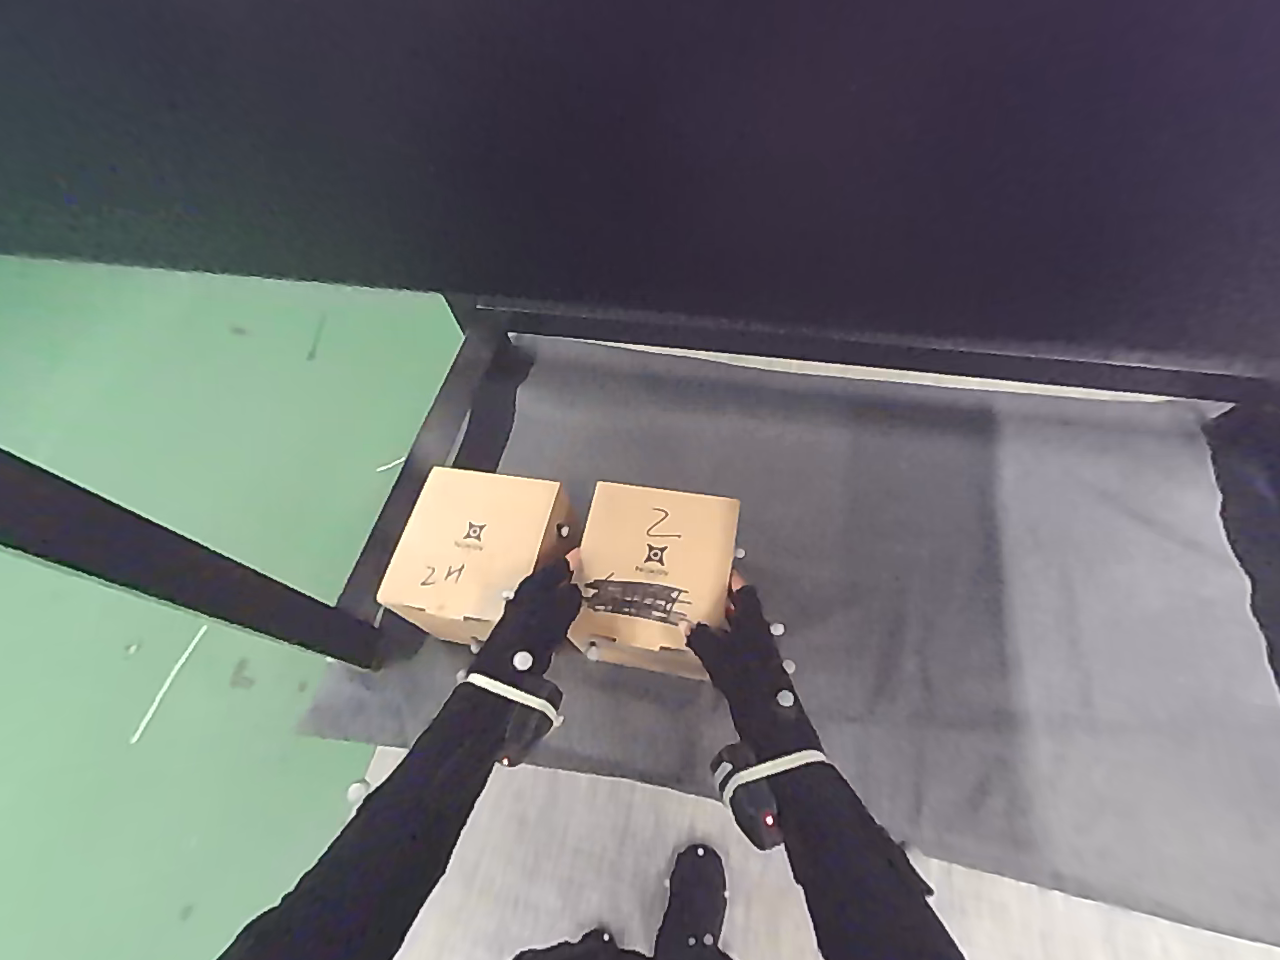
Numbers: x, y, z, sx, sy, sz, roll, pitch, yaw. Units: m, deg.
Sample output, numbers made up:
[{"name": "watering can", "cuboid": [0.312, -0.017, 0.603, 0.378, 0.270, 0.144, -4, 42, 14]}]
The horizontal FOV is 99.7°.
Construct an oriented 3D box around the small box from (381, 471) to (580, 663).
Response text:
[{"name": "small box", "cuboid": [-0.180, 0.113, 0.679, 0.168, 0.176, 0.179, 7, 61, 10]}]
